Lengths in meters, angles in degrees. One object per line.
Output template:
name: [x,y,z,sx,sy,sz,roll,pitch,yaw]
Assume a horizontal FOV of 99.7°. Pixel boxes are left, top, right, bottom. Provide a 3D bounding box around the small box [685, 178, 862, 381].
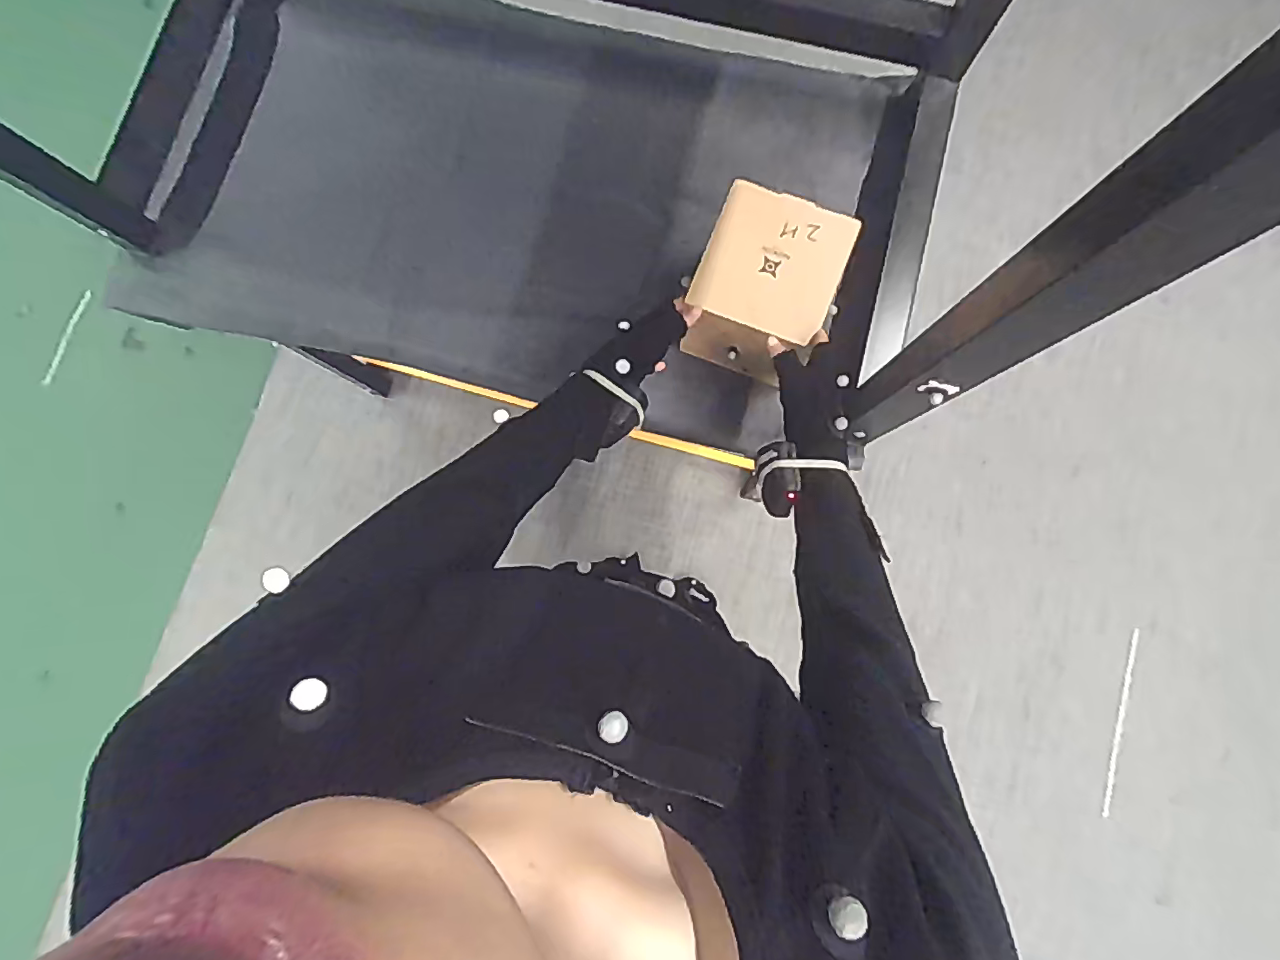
small box: [0.167,-0.255,0.732,0.168,0.176,0.179,22,85,4]
